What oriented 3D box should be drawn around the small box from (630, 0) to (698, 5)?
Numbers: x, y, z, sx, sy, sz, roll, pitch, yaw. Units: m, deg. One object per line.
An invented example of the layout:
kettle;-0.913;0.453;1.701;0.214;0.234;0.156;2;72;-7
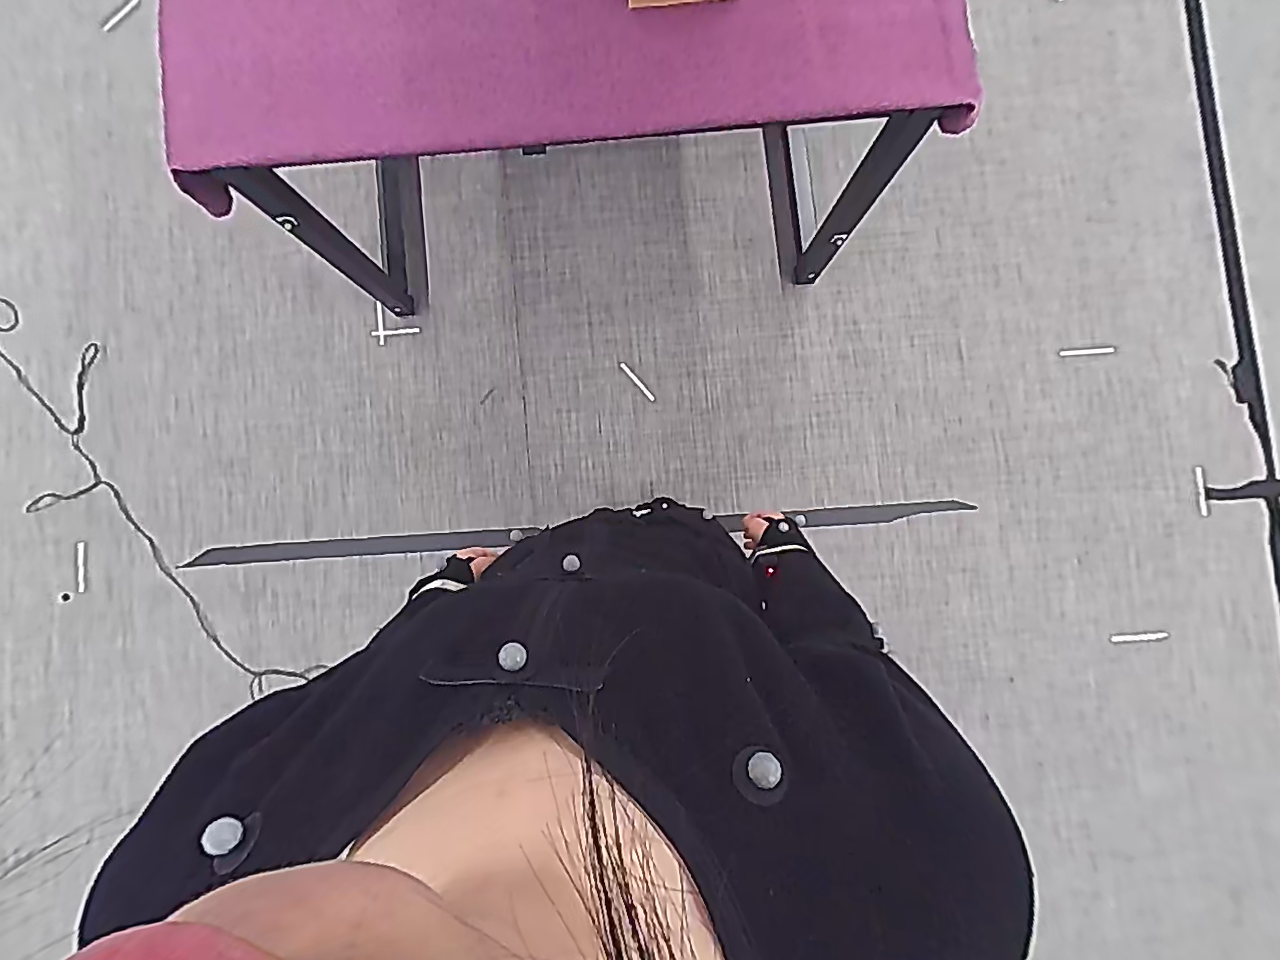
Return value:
small box;0.063;-0.804;0.739;0.179;0.176;0.168;-6;86;0
